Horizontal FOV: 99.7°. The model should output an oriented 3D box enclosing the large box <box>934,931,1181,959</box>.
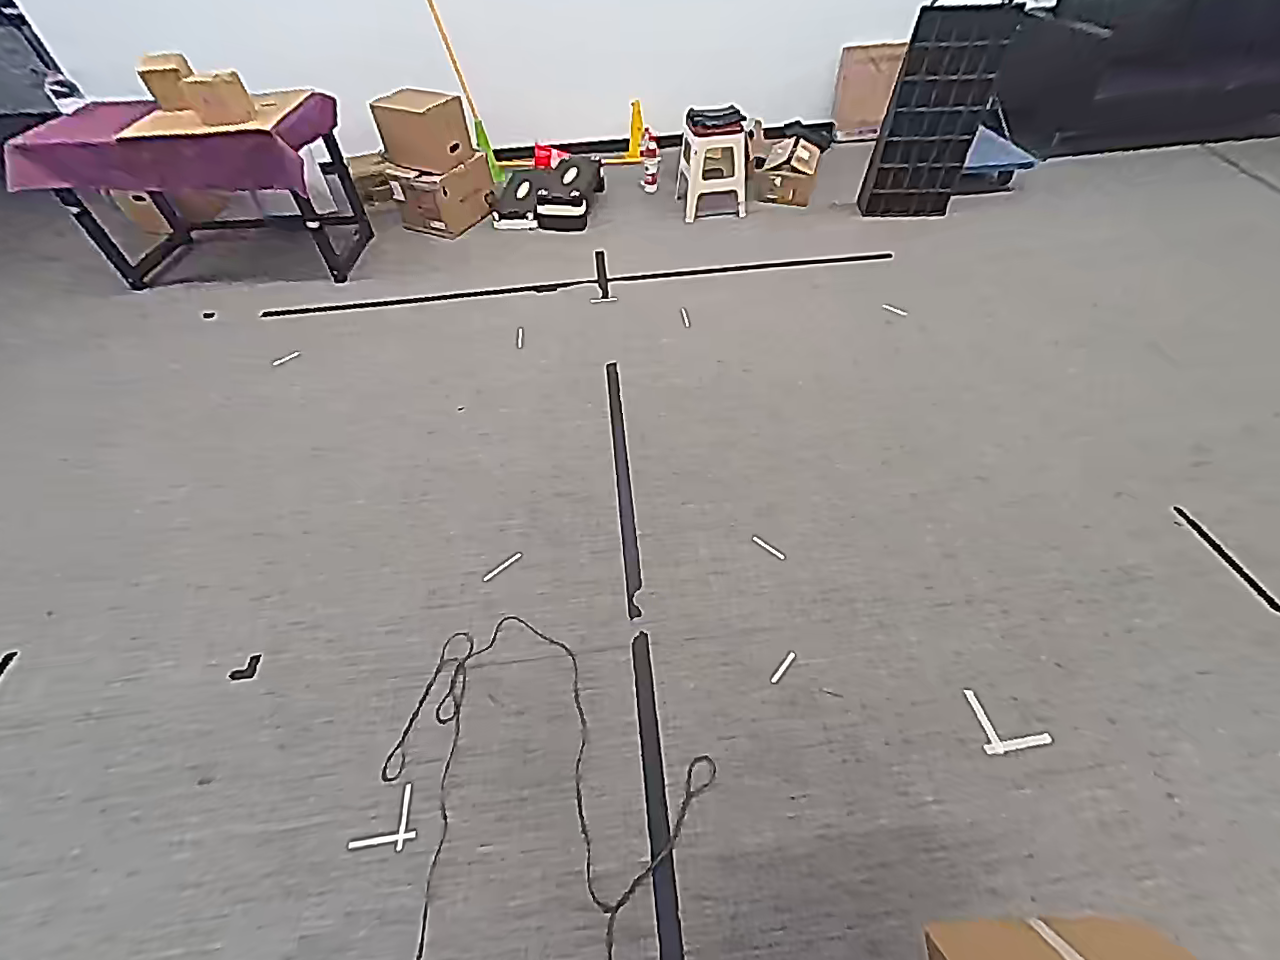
[{"bbox_3d":[0.572,0.768,0.563,0.320,0.408,0.320,-5,77,4],"label":"large box"}]
